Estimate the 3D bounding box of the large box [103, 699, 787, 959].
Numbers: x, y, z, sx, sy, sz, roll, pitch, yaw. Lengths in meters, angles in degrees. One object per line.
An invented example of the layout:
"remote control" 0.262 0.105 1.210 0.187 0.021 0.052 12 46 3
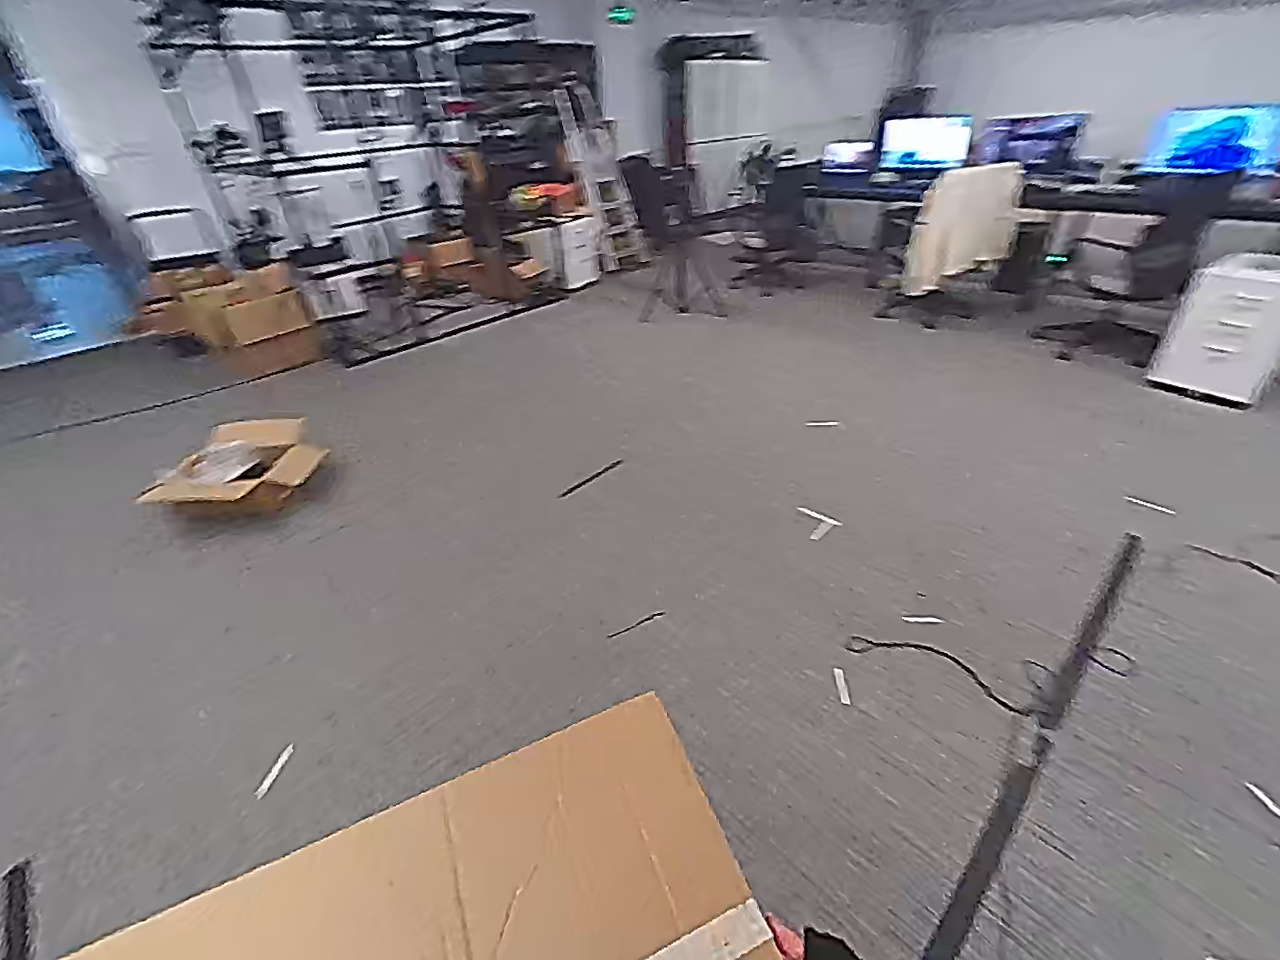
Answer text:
"large box" -0.096 0.440 0.397 0.408 0.320 0.320 -19 49 -14
